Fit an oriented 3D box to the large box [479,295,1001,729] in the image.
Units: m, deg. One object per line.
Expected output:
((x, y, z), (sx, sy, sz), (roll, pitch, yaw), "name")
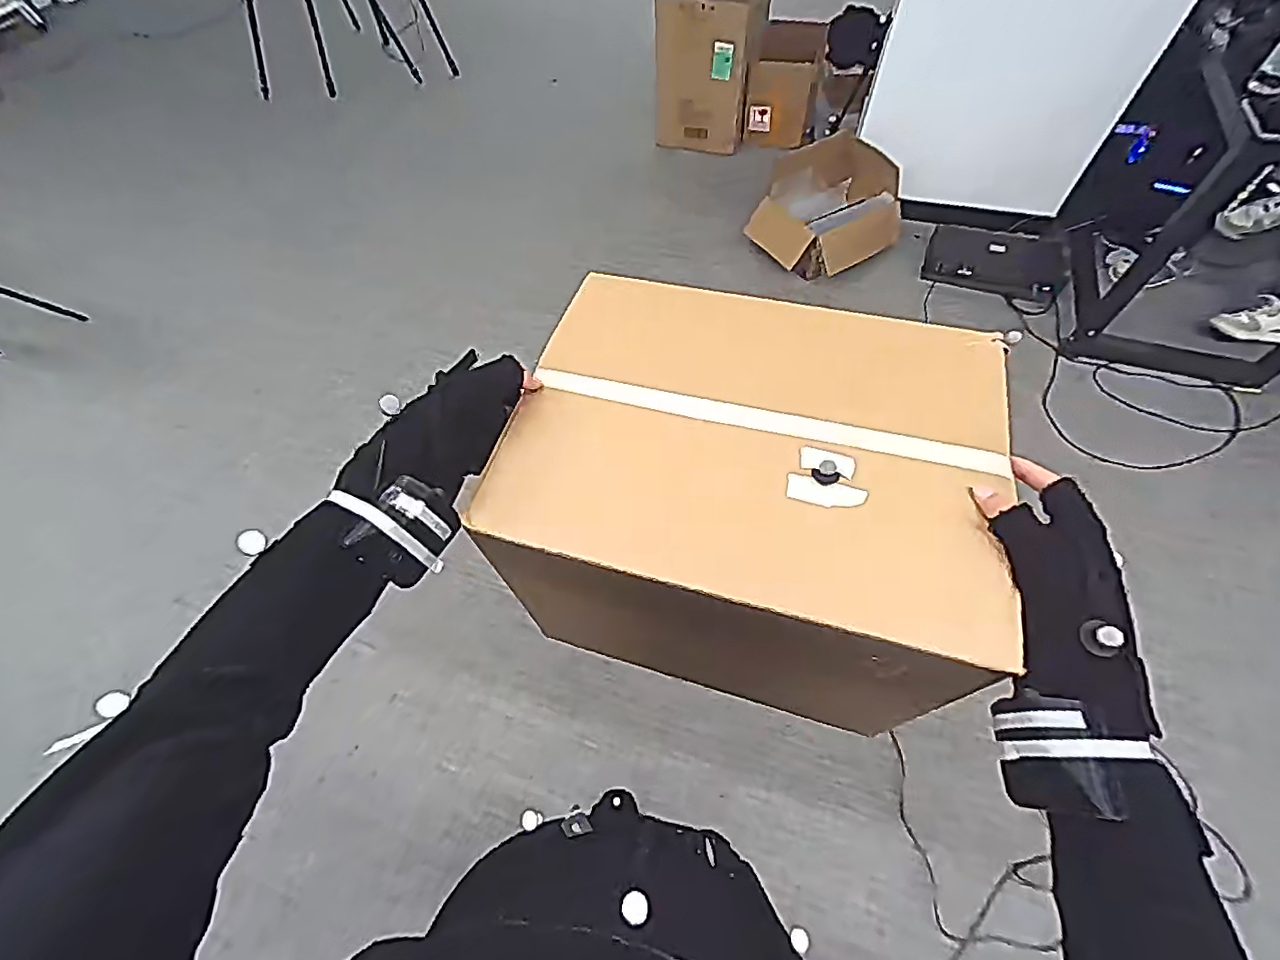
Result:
((0.103, 0.041, 0.603), (0.408, 0.320, 0.320), (13, 60, 11), "large box")
